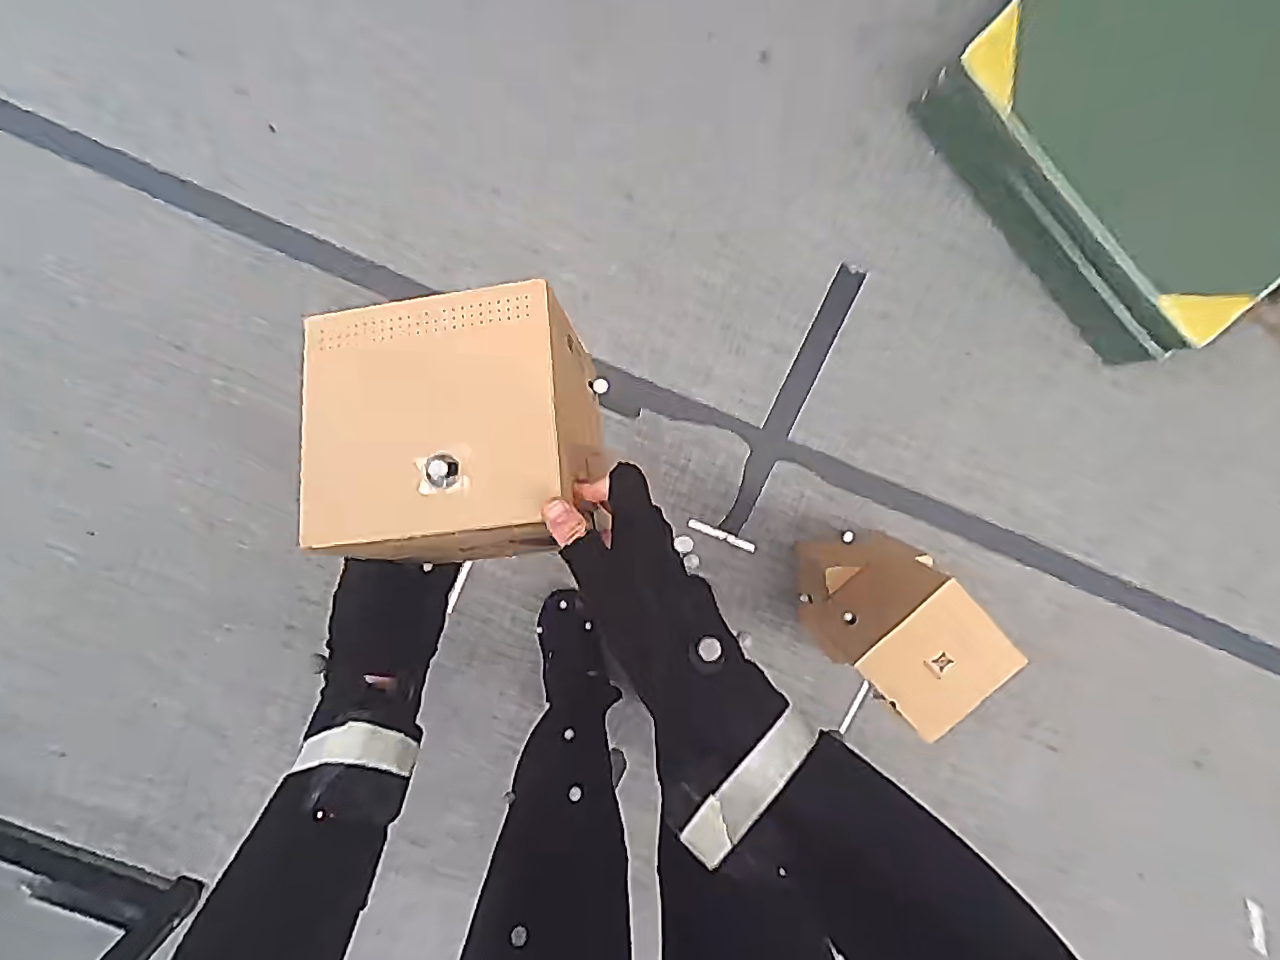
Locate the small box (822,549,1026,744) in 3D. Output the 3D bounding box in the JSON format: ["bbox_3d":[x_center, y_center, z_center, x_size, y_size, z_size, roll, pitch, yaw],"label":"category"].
[{"bbox_3d":[0.392,0.230,0.789,0.179,0.176,0.168,-43,97,4],"label":"small box"}]

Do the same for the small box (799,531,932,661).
[{"bbox_3d":[0.390,0.195,0.952,0.179,0.176,0.168,-10,97,0],"label":"small box"}]
